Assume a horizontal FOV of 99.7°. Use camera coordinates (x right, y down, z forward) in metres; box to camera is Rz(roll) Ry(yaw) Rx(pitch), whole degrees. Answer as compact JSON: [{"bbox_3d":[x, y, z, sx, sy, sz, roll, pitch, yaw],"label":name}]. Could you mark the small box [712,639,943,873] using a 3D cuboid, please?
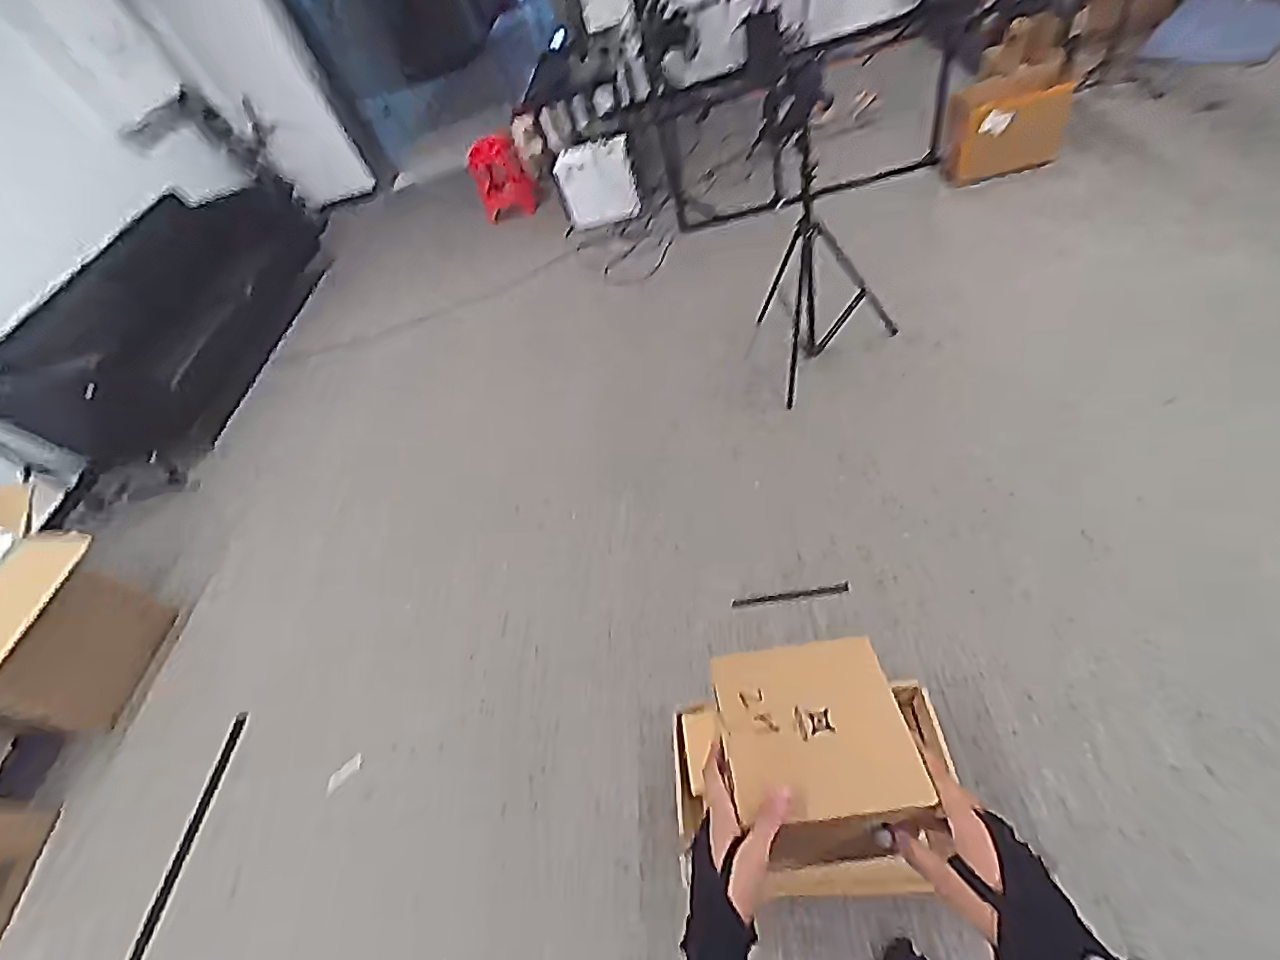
[{"bbox_3d":[0.177,0.293,0.572,0.179,0.176,0.168,-9,43,1],"label":"small box"}]
